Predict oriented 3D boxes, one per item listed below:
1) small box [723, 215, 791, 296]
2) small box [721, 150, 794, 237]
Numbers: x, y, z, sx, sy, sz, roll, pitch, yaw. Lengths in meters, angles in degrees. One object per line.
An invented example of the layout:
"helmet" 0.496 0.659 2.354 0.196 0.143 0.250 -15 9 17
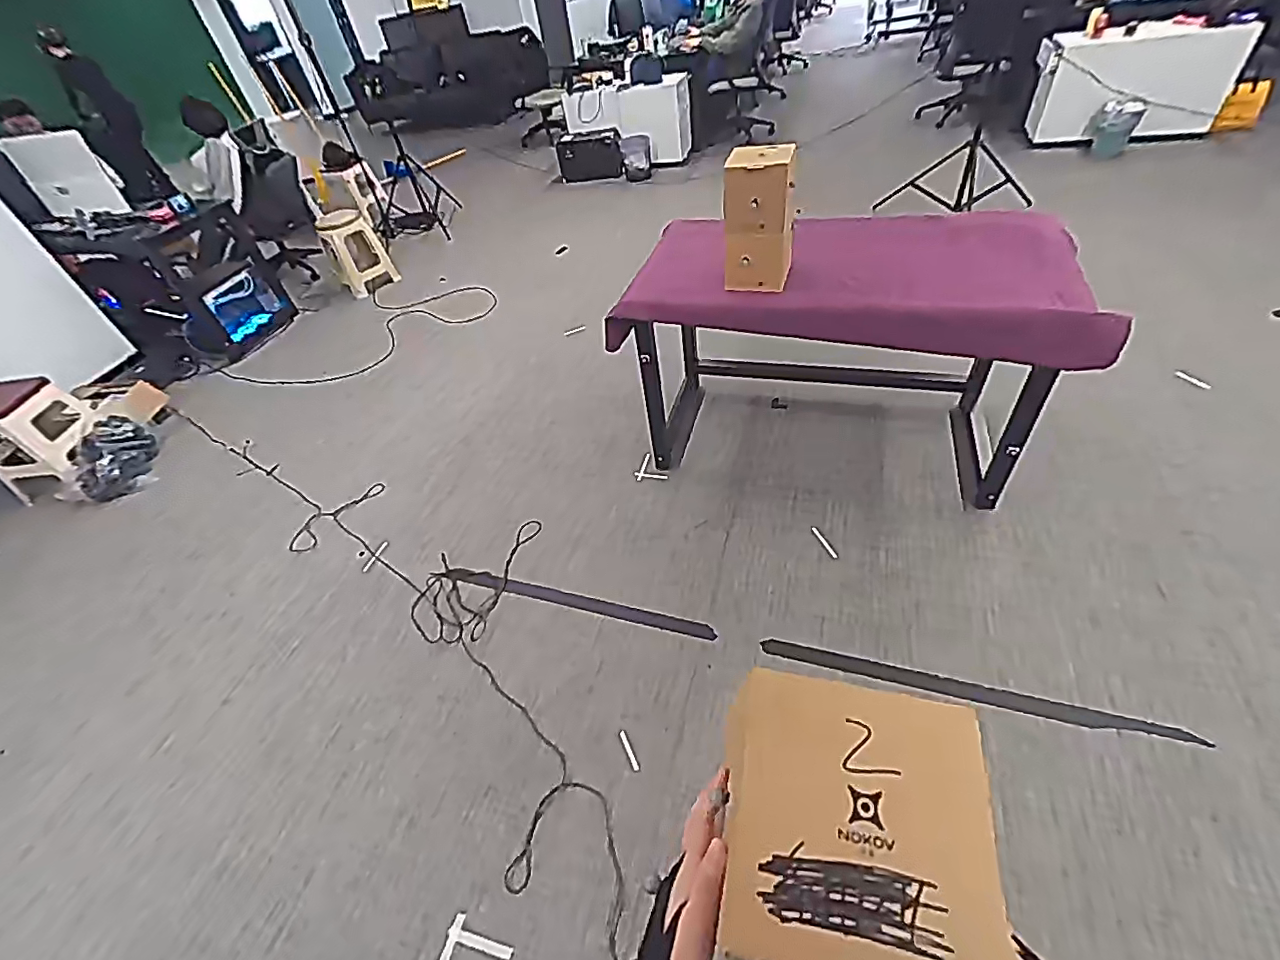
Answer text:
"small box" 0.343 -0.654 1.579 0.168 0.176 0.179 9 47 18
"small box" 0.321 -0.773 1.468 0.168 0.176 0.179 8 47 17
